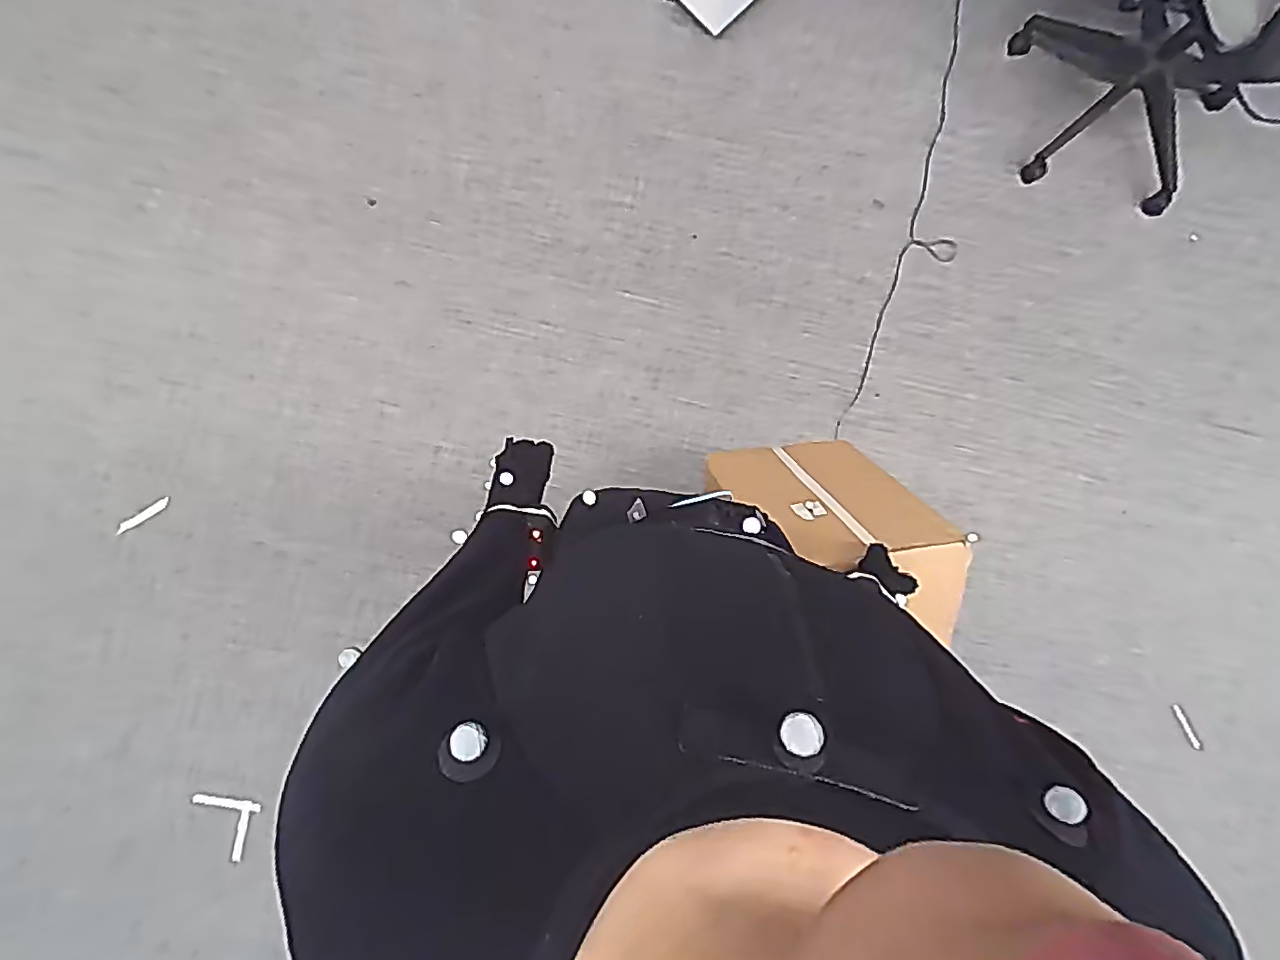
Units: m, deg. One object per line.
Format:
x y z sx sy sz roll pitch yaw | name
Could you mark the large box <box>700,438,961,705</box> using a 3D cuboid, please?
0.314 0.149 1.042 0.320 0.408 0.320 -8 118 -6 | large box
